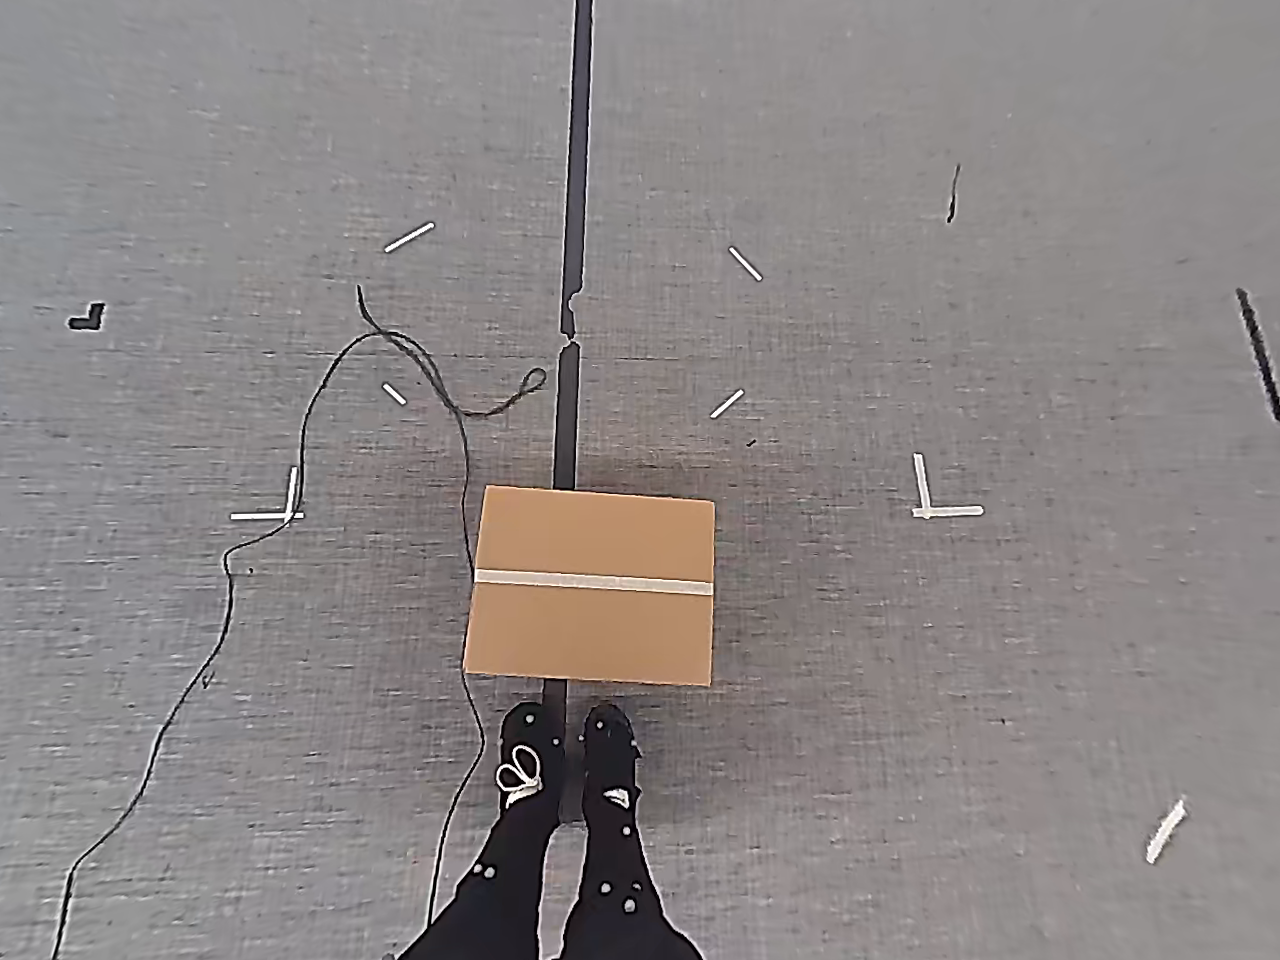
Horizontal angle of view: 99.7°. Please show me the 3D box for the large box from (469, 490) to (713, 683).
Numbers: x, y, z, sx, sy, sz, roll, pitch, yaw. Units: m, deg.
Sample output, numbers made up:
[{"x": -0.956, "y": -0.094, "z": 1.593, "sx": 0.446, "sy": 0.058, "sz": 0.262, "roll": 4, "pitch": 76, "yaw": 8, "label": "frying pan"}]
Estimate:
[{"x": -0.085, "y": 0.213, "z": 1.064, "sx": 0.408, "sy": 0.320, "sz": 0.320, "roll": 4, "pitch": 77, "yaw": -3, "label": "large box"}]
